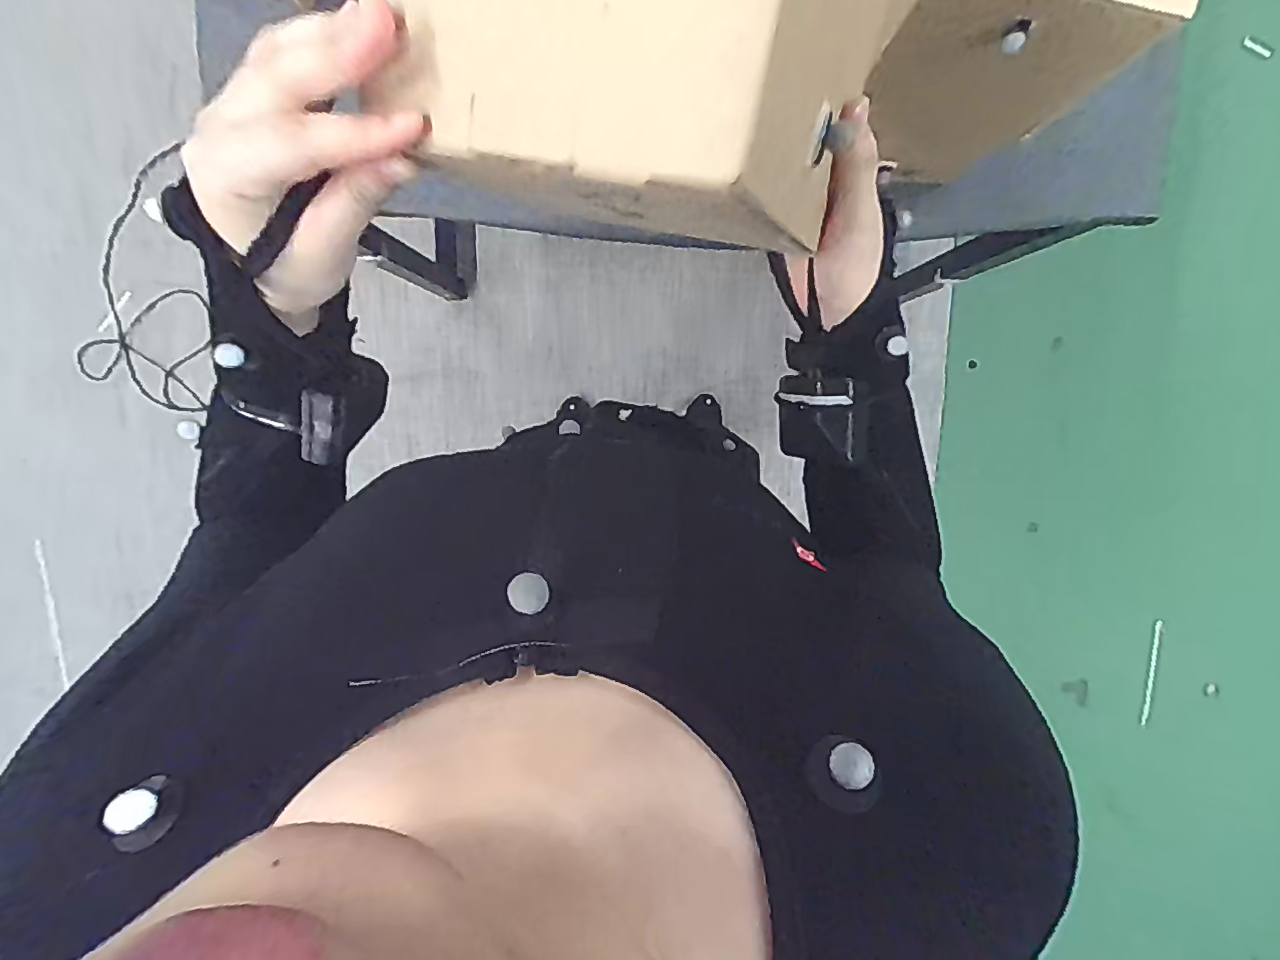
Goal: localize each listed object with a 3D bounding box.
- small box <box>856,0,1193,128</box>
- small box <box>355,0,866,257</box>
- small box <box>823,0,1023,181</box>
[{"bbox_3d":[0.305,-0.418,0.430,0.179,0.176,0.168,13,98,0],"label":"small box"},{"bbox_3d":[0.005,-0.212,0.242,0.168,0.179,0.176,16,109,19],"label":"small box"},{"bbox_3d":[0.308,-0.455,0.589,0.168,0.176,0.179,3,98,1],"label":"small box"}]
